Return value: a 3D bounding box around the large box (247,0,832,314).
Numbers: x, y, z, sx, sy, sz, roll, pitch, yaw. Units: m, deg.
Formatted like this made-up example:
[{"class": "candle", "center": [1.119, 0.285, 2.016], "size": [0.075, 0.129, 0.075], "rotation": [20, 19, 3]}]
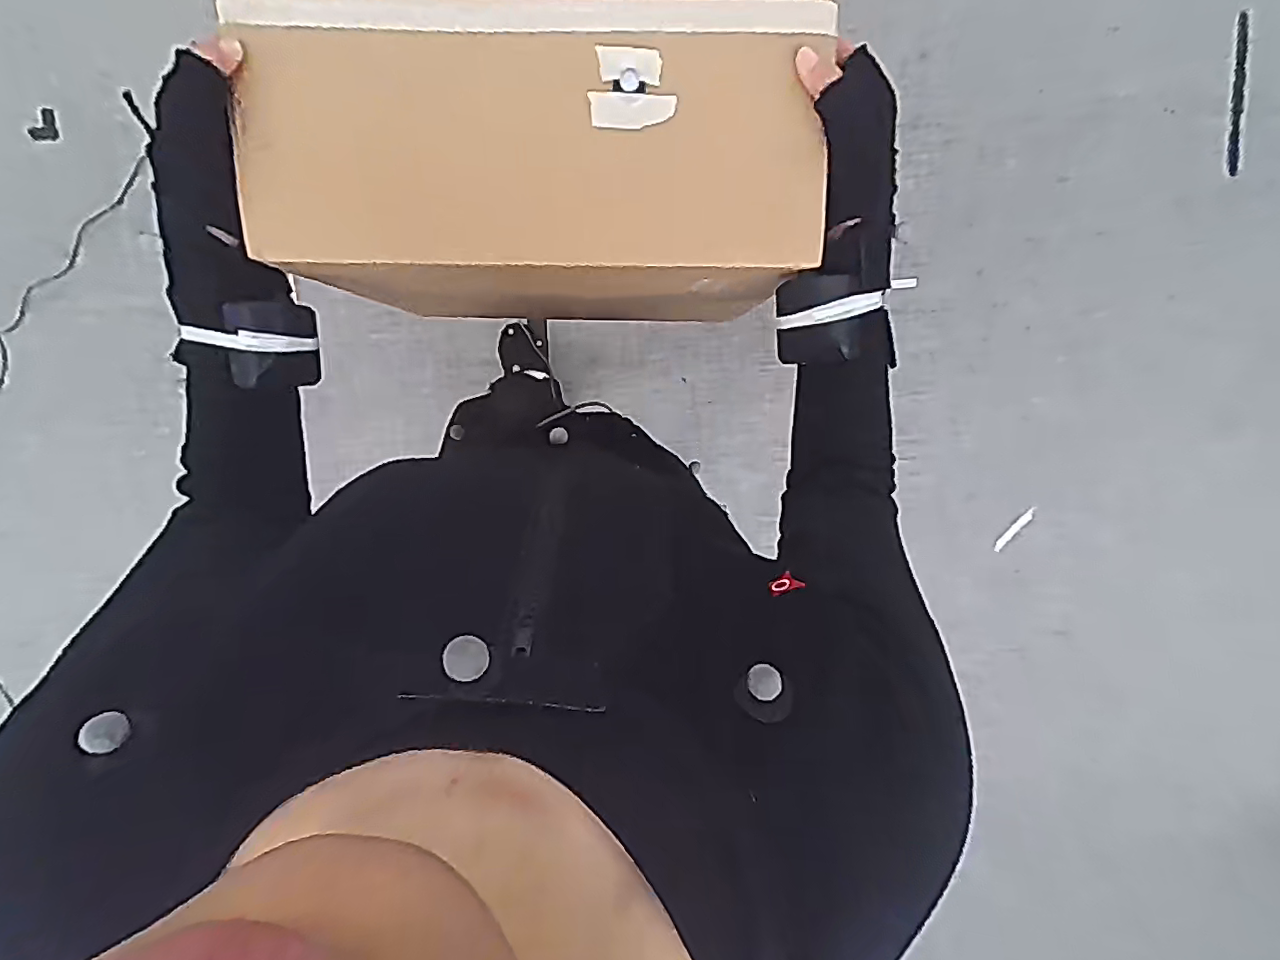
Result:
[{"class": "large box", "center": [-0.072, -0.338, 0.514], "size": [0.408, 0.320, 0.320], "rotation": [0, 101, -2]}]
